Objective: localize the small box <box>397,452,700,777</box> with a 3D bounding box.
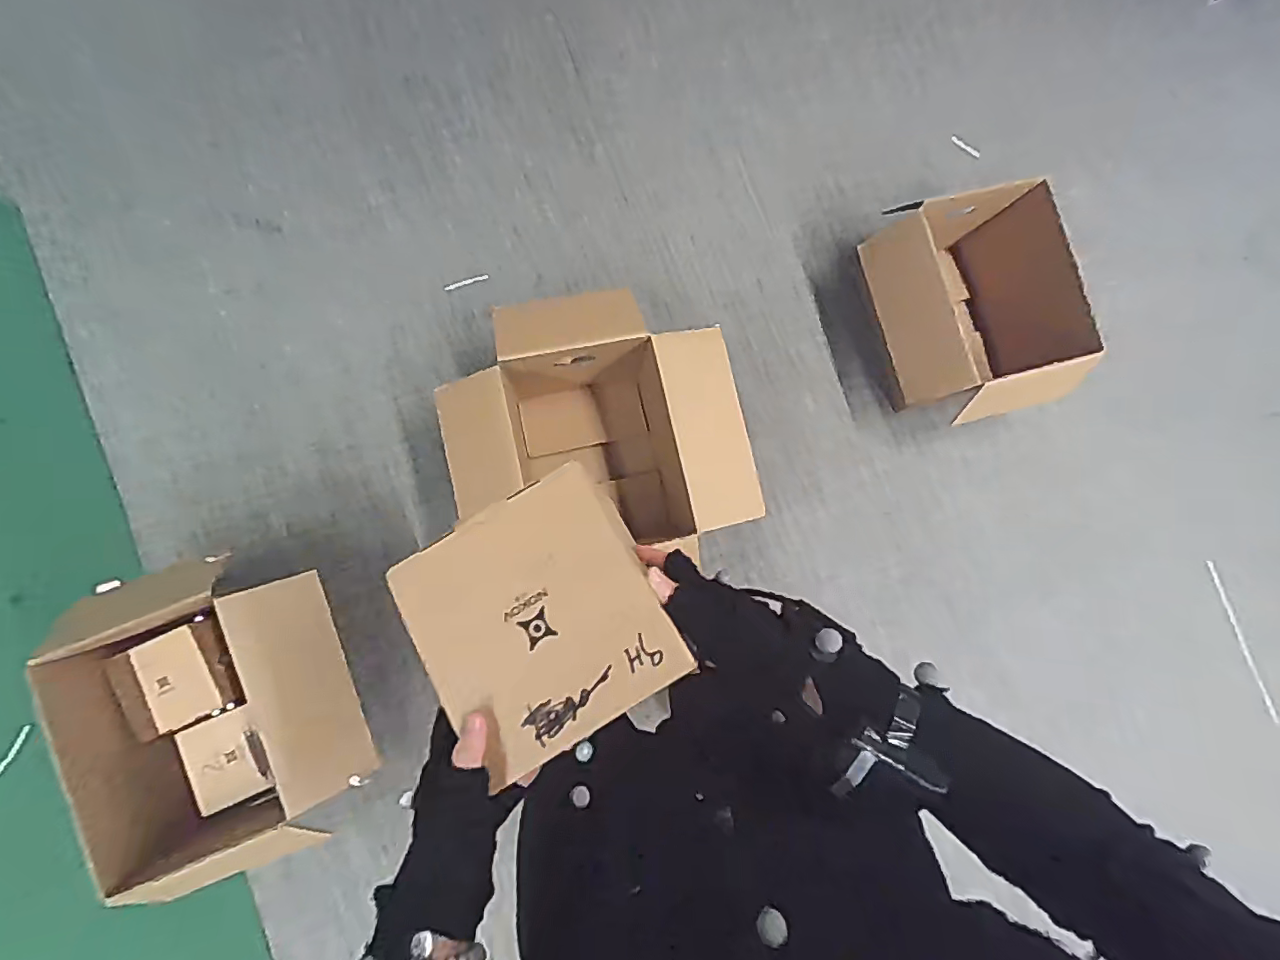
[{"bbox_3d":[-0.063,0.109,0.460,0.168,0.176,0.179,-31,74,-2],"label":"small box"}]
